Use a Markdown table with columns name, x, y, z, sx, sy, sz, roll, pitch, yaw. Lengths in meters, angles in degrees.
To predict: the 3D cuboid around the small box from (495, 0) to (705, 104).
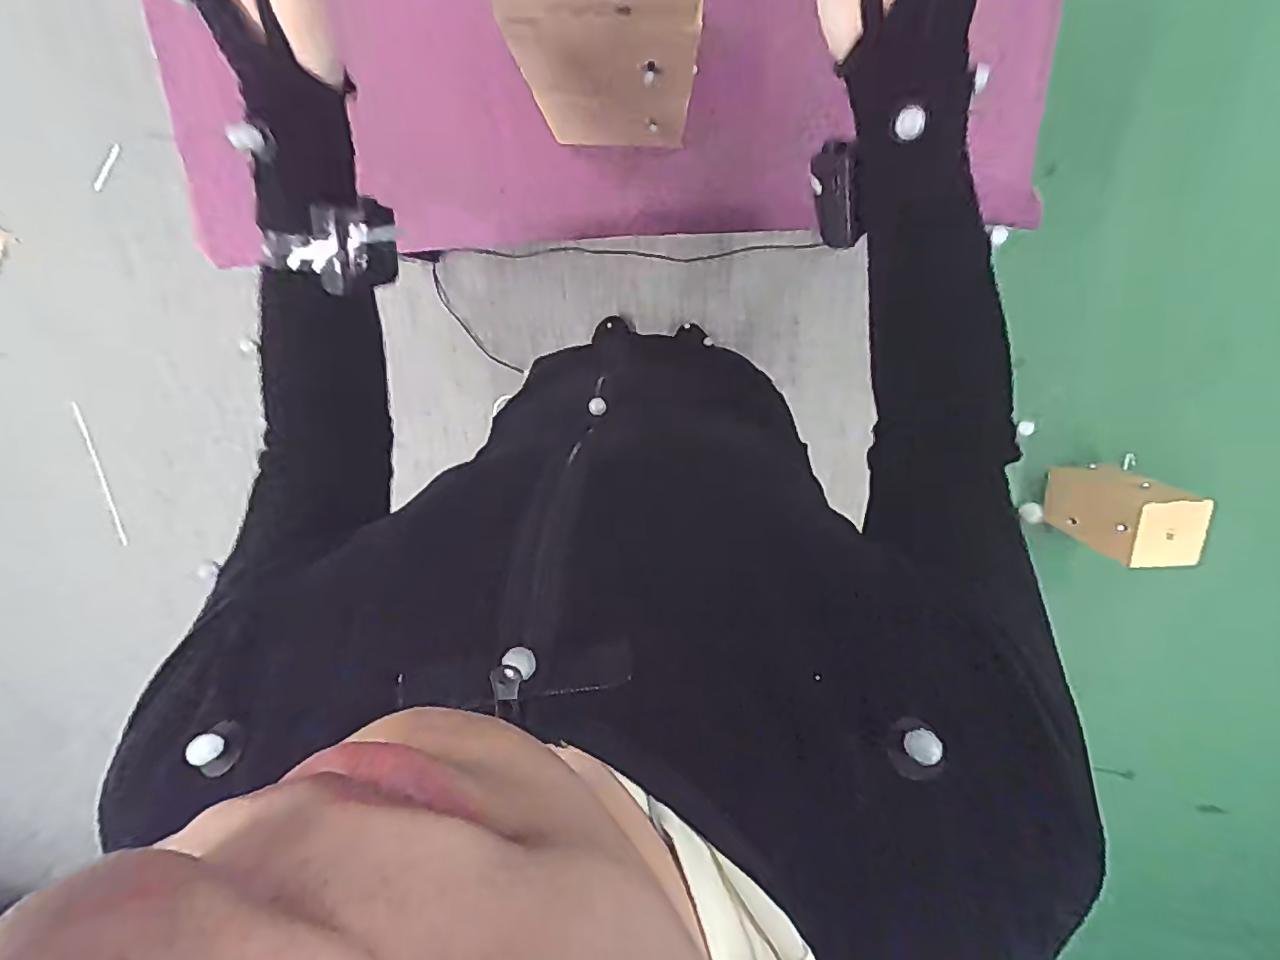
| name | x | y | z | sx | sy | sz | roll | pitch | yaw |
| --- | --- | --- | --- | --- | --- | --- | --- | --- | --- |
| small box | -0.030 | -0.478 | 0.507 | 0.179 | 0.176 | 0.168 | 3 | 107 | 1 |

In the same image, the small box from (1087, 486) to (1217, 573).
| name | x | y | z | sx | sy | sz | roll | pitch | yaw |
| --- | --- | --- | --- | --- | --- | --- | --- | --- | --- |
| small box | 1.314 | 0.124 | 1.403 | 0.168 | 0.176 | 0.179 | -3 | 106 | 3 |

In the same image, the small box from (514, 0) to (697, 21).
| name | x | y | z | sx | sy | sz | roll | pitch | yaw |
| --- | --- | --- | --- | --- | --- | --- | --- | --- | --- |
| small box | -0.033 | -0.439 | 0.349 | 0.168 | 0.176 | 0.179 | 2 | 106 | 0 |

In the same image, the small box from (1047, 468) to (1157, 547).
| name | x | y | z | sx | sy | sz | roll | pitch | yaw |
| --- | --- | --- | --- | --- | --- | --- | --- | --- | --- |
| small box | 1.320 | 0.076 | 1.558 | 0.168 | 0.176 | 0.179 | -5 | 107 | 3 |
